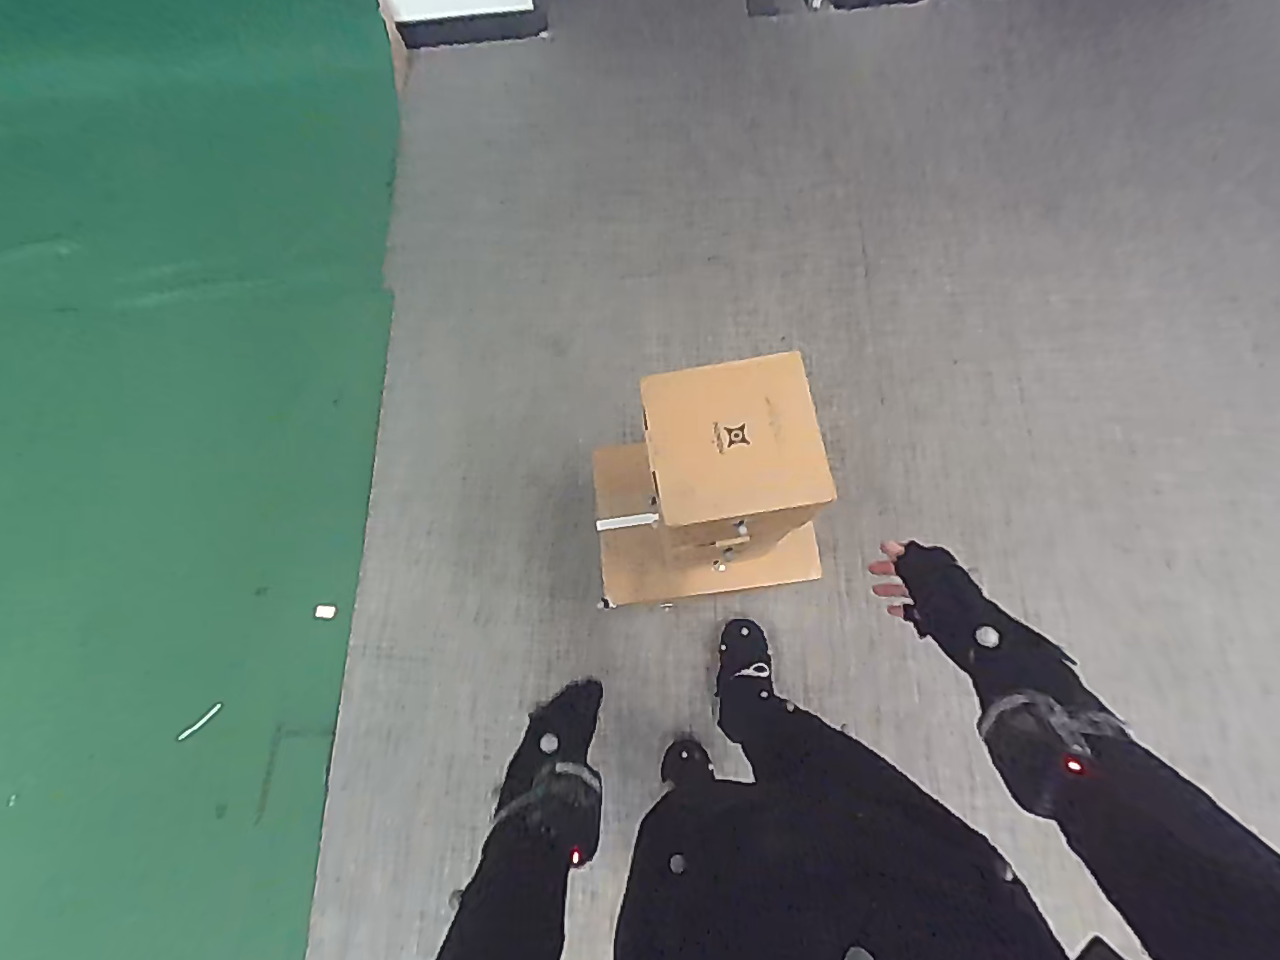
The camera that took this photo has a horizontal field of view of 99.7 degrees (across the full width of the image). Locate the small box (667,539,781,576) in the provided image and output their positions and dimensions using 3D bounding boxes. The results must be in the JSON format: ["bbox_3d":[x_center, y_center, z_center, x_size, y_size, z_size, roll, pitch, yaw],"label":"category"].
[{"bbox_3d":[0.124,0.065,0.938,0.179,0.176,0.168,-13,75,0],"label":"small box"}]

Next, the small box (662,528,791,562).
[{"bbox_3d":[0.106,0.020,0.782,0.168,0.176,0.179,-11,75,2],"label":"small box"}]

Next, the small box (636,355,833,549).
[{"bbox_3d":[0.098,-0.020,0.624,0.179,0.176,0.168,-10,76,1],"label":"small box"}]
